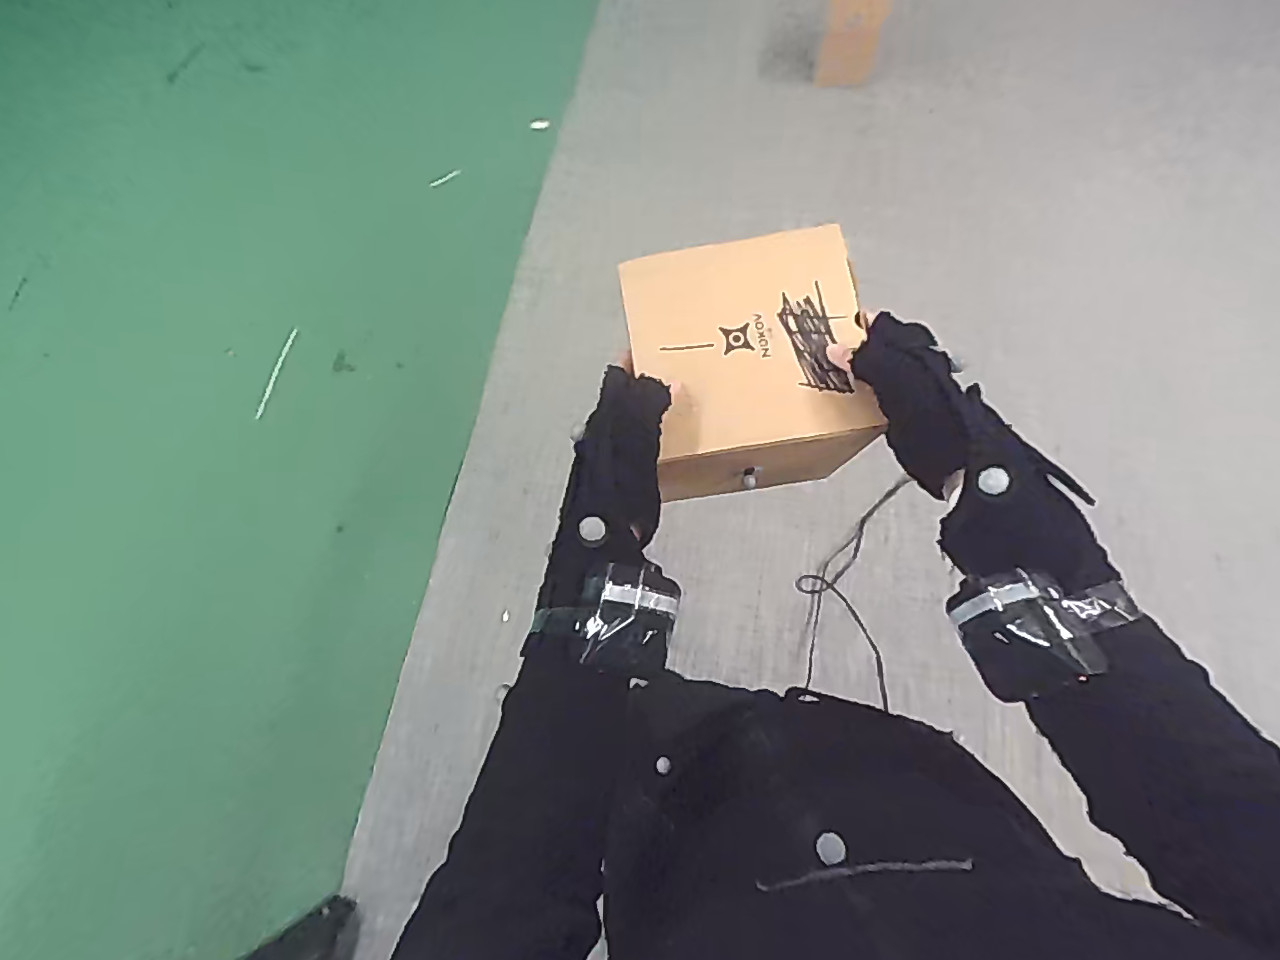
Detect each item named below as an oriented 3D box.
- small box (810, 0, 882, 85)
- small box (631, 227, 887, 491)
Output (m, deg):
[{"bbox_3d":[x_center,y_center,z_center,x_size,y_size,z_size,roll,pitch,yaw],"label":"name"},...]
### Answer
[{"bbox_3d":[0.644,-1.382,1.701,0.179,0.176,0.168,6,72,10],"label":"small box"},{"bbox_3d":[0.087,-0.091,0.480,0.179,0.176,0.168,-5,75,2],"label":"small box"}]
